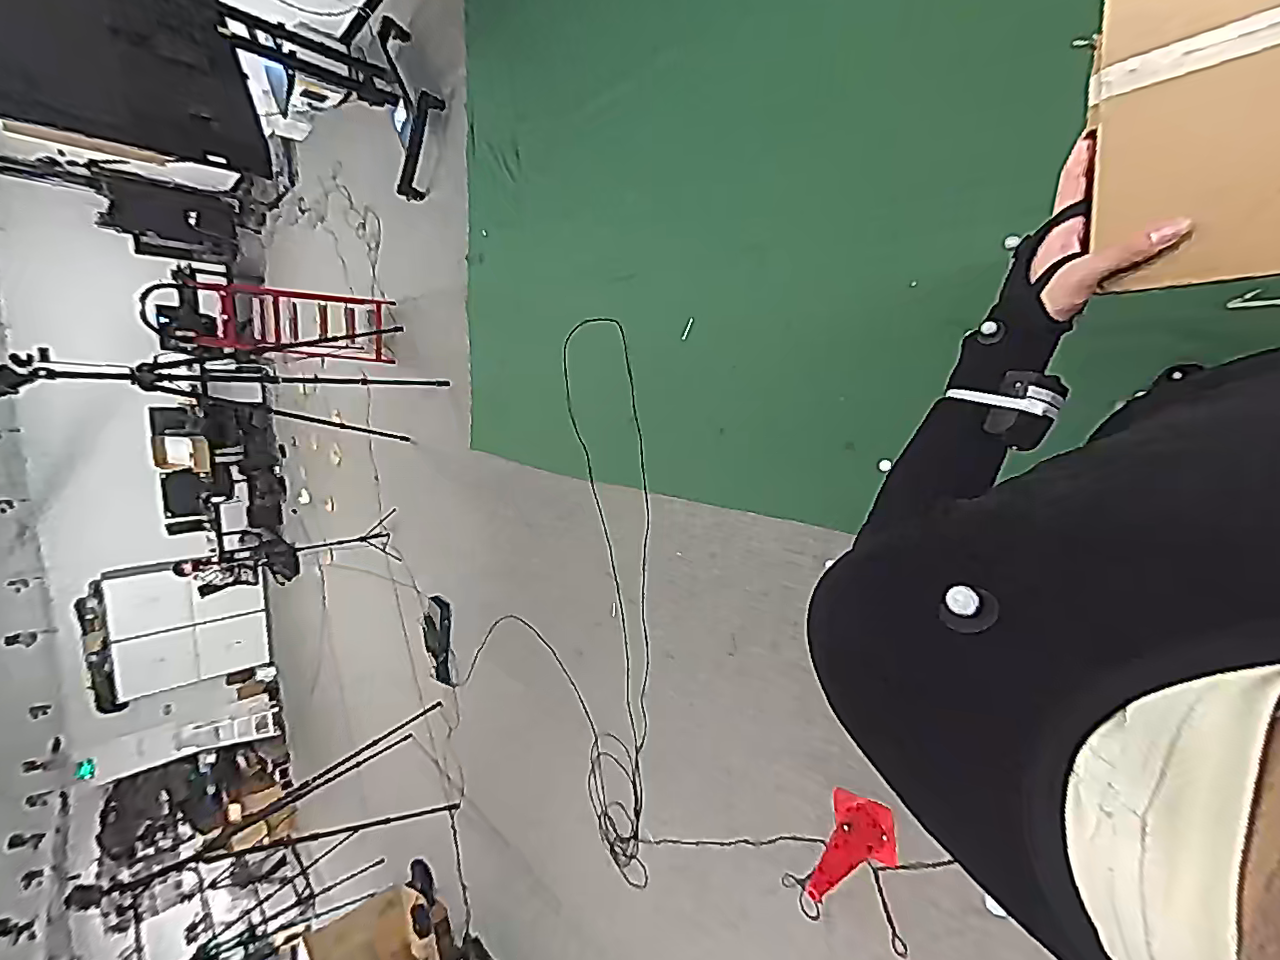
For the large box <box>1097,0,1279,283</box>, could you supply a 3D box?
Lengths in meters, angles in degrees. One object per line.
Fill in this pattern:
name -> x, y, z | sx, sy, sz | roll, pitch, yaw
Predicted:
large box -> 0.602, -0.339, 0.375 | 0.408, 0.320, 0.320 | 7, 112, 46
